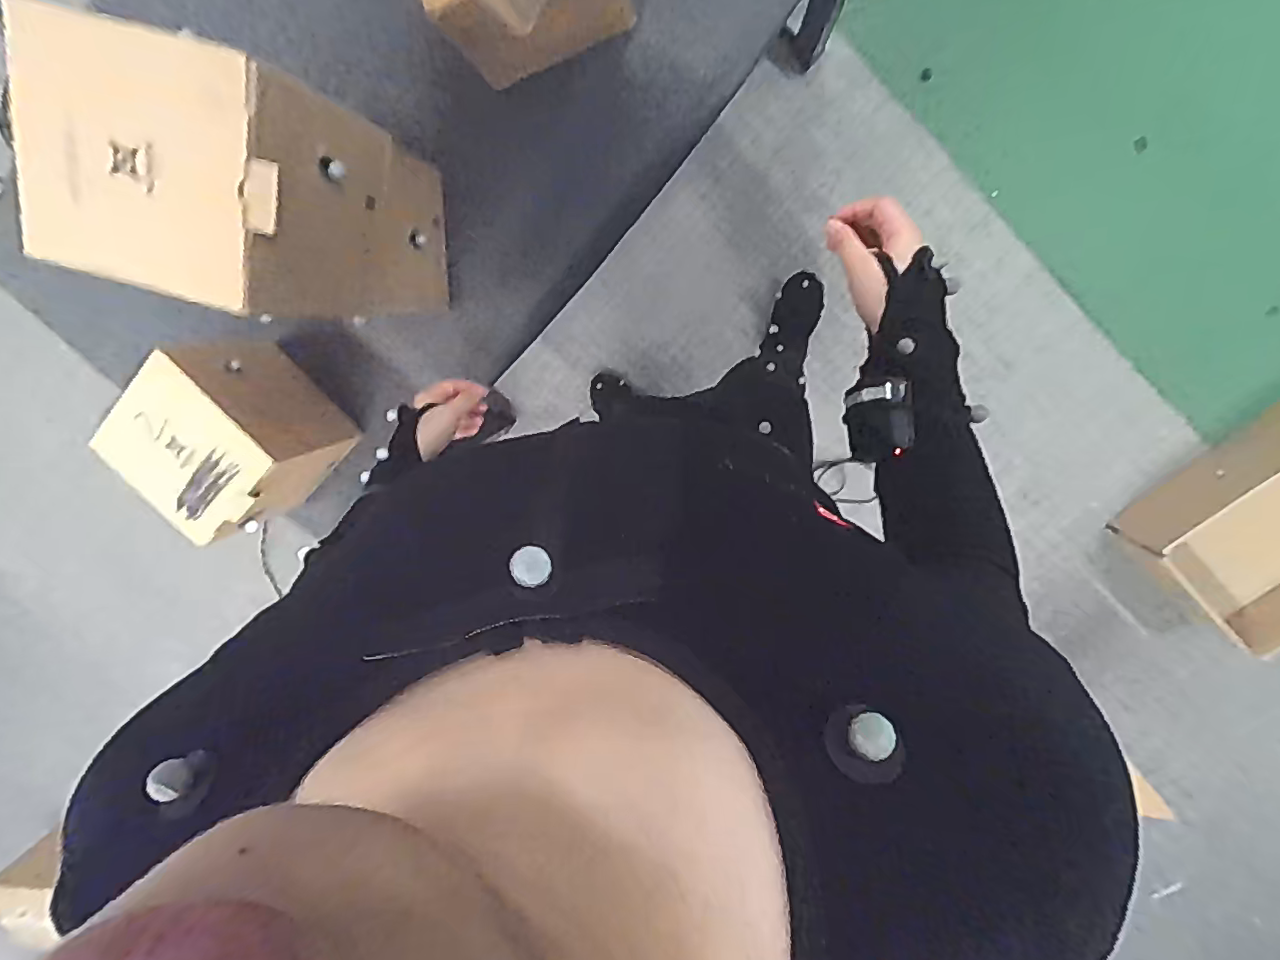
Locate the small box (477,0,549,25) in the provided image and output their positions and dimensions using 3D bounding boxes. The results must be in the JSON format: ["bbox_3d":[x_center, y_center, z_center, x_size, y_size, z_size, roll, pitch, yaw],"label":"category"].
[{"bbox_3d":[-0.127,-0.463,0.354,0.179,0.176,0.168,37,108,-5],"label":"small box"}]

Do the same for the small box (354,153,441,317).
[{"bbox_3d":[-0.339,-0.273,0.608,0.179,0.176,0.168,3,107,6],"label":"small box"}]

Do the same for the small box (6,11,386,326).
[{"bbox_3d":[-0.340,-0.233,0.450,0.179,0.176,0.168,15,107,2],"label":"small box"}]

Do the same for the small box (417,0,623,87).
[{"bbox_3d":[-0.122,-0.519,0.509,0.179,0.176,0.168,-16,104,12],"label":"small box"}]
